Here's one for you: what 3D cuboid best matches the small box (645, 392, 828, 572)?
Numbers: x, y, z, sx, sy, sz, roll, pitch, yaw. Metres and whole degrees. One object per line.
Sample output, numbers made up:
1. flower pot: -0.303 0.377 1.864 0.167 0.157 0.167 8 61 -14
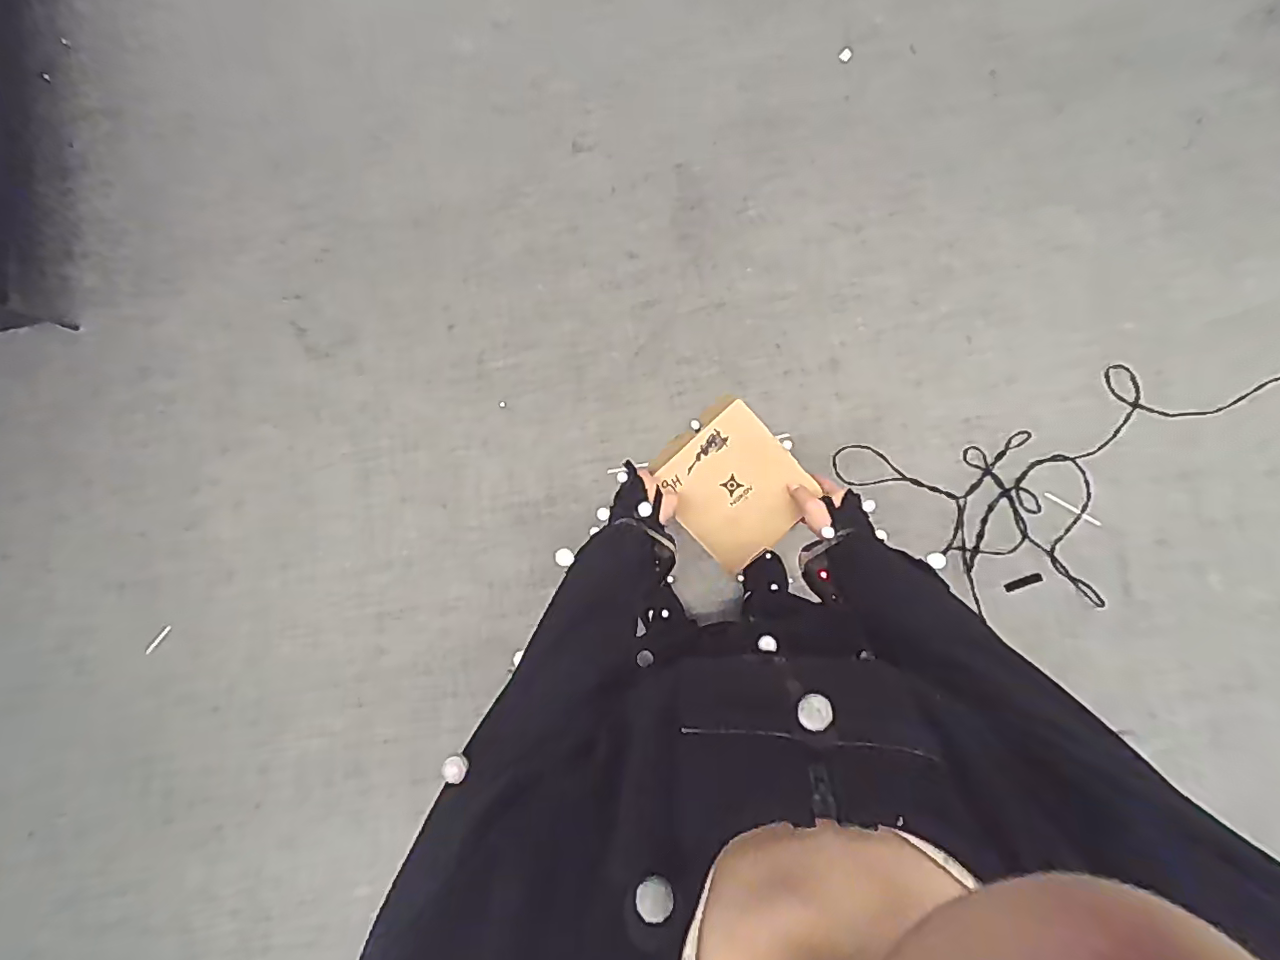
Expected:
1. small box: 0.128 -0.009 0.762 0.168 0.176 0.179 -42 97 11
